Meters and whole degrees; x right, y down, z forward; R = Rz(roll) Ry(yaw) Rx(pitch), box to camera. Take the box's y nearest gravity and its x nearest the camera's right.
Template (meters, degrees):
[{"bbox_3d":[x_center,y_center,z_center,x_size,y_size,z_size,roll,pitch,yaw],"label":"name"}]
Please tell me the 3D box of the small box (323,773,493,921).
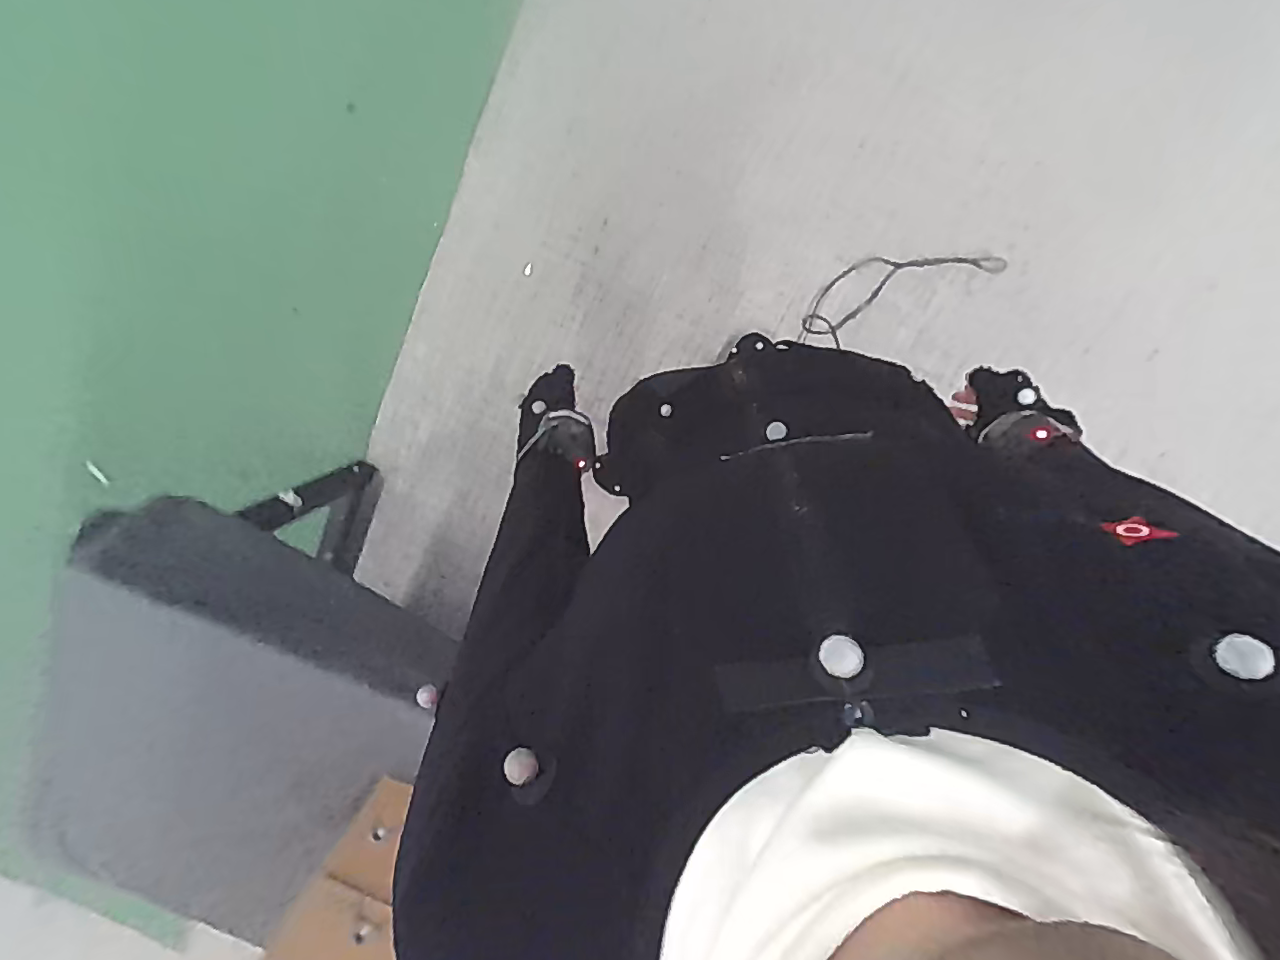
[{"bbox_3d":[-0.345,0.575,0.800,0.179,0.176,0.168,24,108,-3],"label":"small box"}]
